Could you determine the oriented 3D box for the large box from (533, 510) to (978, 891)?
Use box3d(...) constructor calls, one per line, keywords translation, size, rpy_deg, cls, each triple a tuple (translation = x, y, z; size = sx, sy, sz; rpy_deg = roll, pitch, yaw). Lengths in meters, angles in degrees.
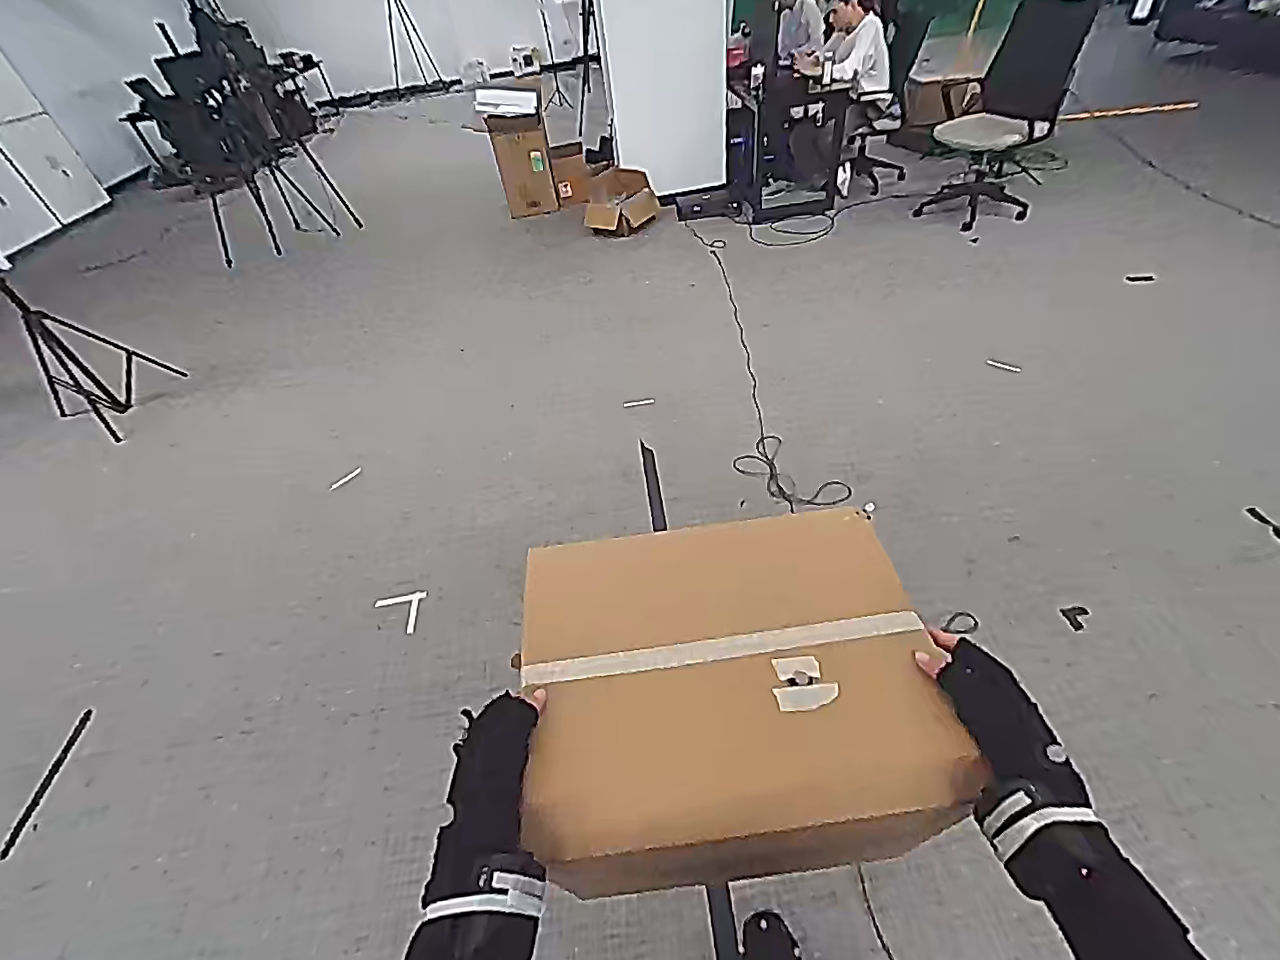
box3d(translation=(0.094, 0.276, 0.675), size=(0.408, 0.320, 0.320), rpy_deg=(-8, 48, -1), cls="large box")
